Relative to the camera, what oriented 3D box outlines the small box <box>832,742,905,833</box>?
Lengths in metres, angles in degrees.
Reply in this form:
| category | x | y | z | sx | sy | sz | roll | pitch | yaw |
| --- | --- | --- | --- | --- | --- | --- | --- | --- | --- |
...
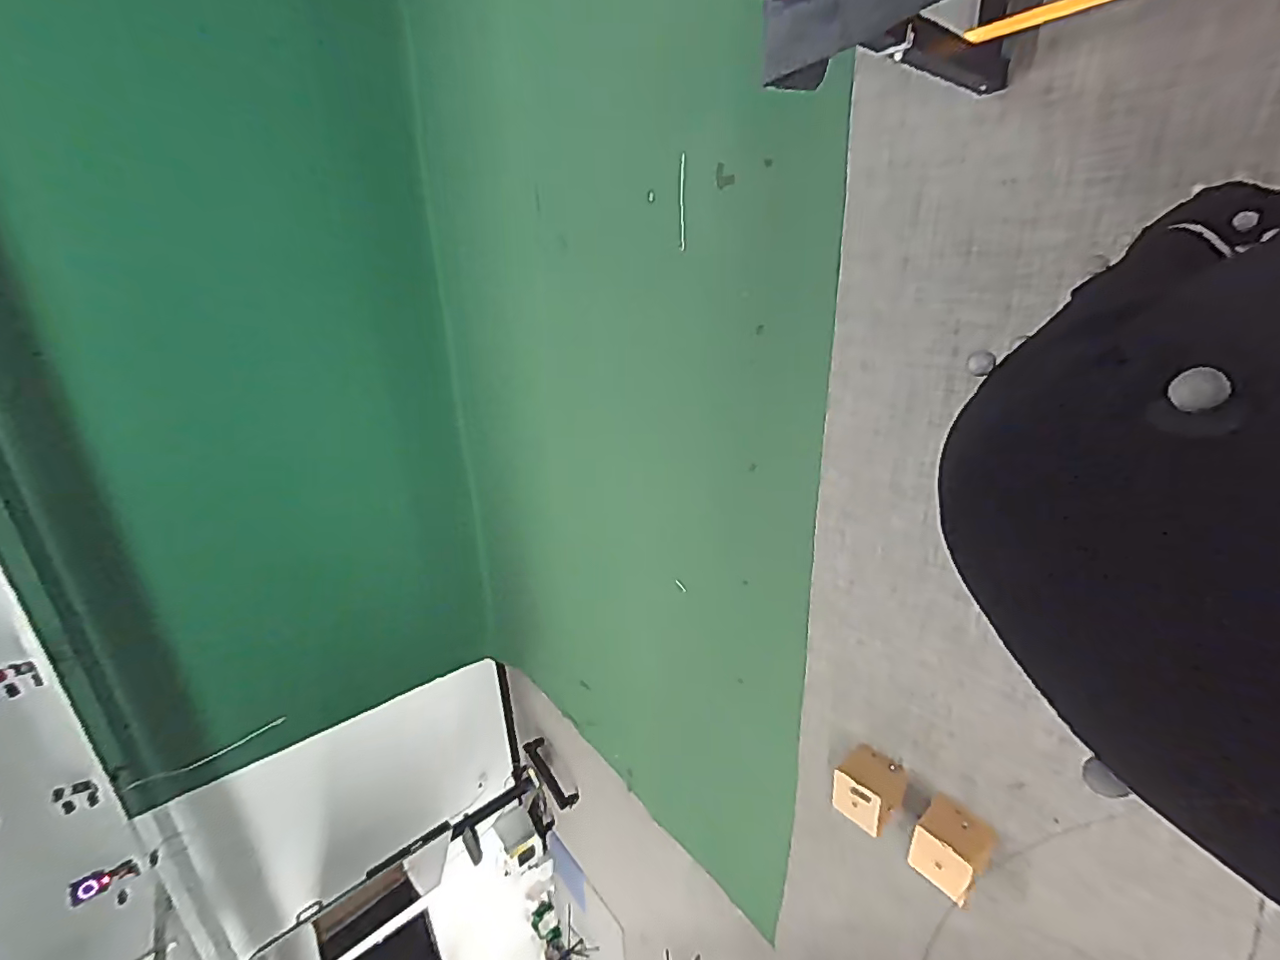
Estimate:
| category | x | y | z | sx | sy | sz | roll | pitch | yaw |
| --- | --- | --- | --- | --- | --- | --- | --- | --- | --- |
| small box | 0.784 | 1.041 | 1.850 | 0.168 | 0.176 | 0.179 | 19 | 119 | 49 |

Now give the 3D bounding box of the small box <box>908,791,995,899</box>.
| category | x | y | z | sx | sy | sz | roll | pitch | yaw |
| --- | --- | --- | --- | --- | --- | --- | --- | --- | --- |
| small box | 0.952 | 1.108 | 1.652 | 0.168 | 0.176 | 0.179 | 24 | 122 | 47 |
